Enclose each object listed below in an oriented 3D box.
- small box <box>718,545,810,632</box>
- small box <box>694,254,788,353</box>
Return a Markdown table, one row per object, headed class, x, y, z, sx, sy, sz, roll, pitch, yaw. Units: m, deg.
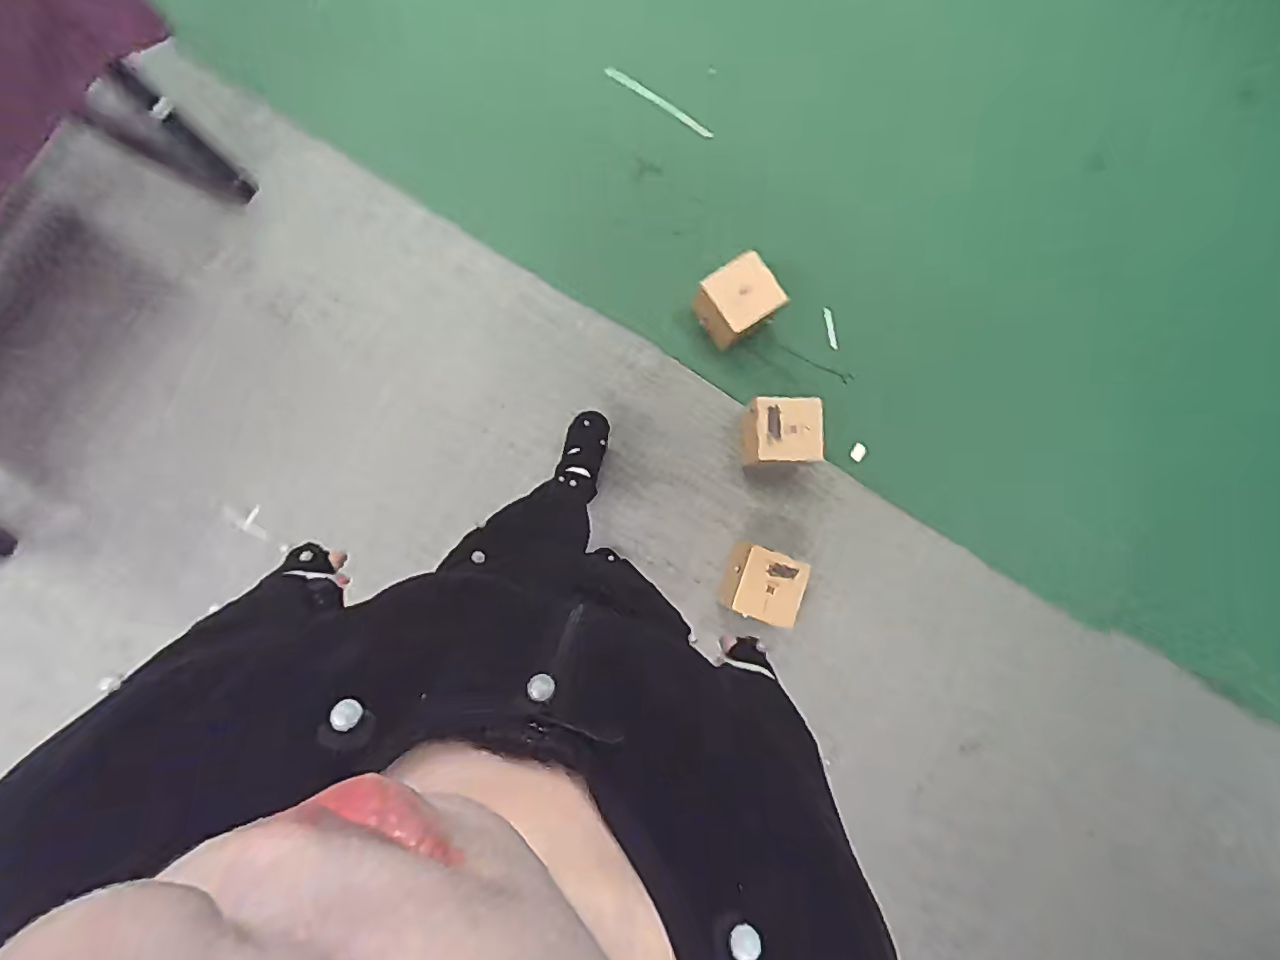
| class | x | y | z | sx | sy | sz | roll | pitch | yaw |
| --- | --- | --- | --- | --- | --- | --- | --- | --- | --- |
| small box | 0.321 | 0.280 | 1.438 | 0.168 | 0.176 | 0.179 | 21 | 85 | -2 |
| small box | 0.273 | -0.483 | 1.500 | 0.179 | 0.176 | 0.168 | -33 | 88 | -7 |
